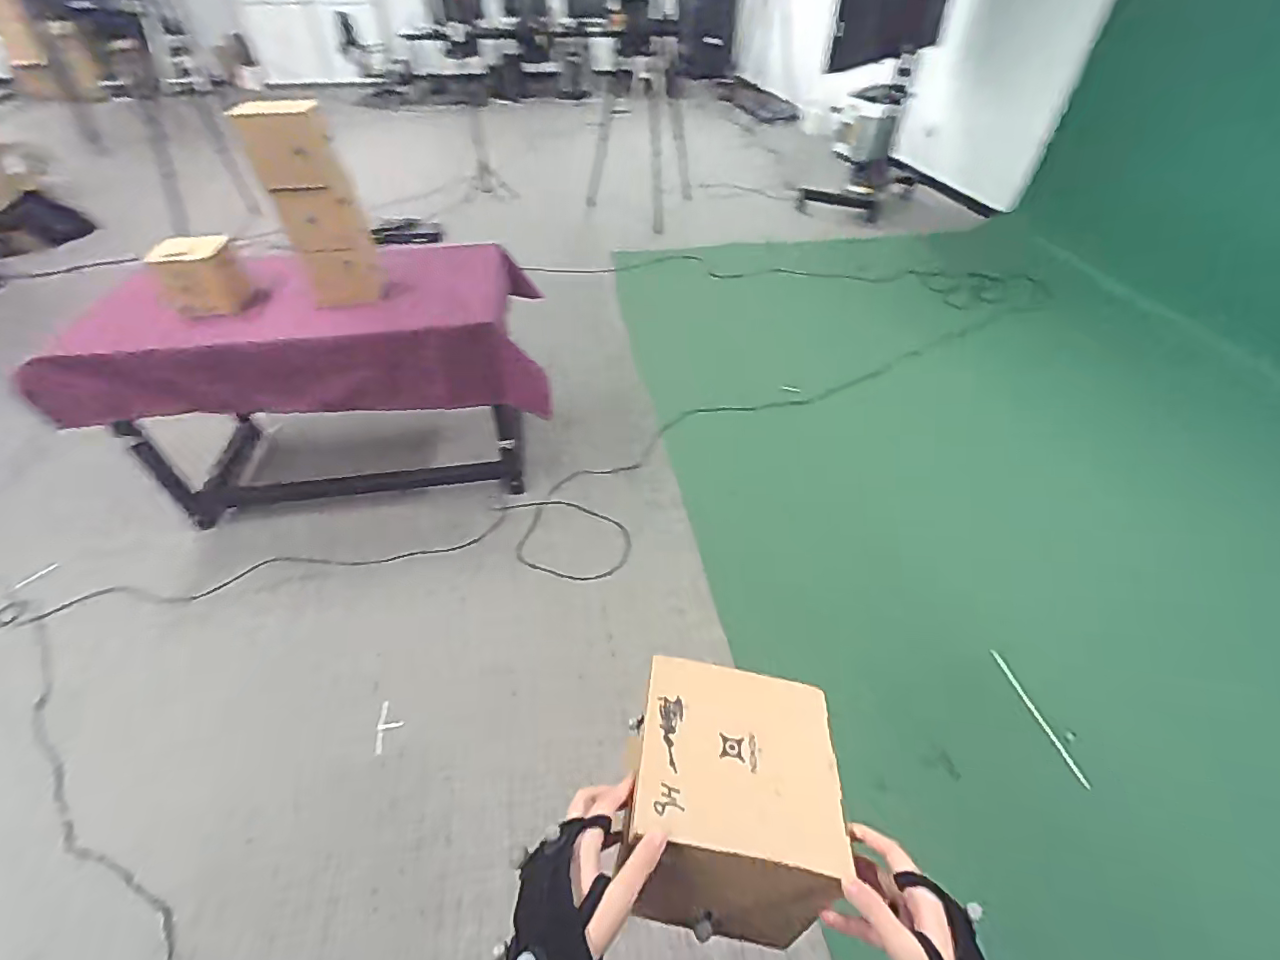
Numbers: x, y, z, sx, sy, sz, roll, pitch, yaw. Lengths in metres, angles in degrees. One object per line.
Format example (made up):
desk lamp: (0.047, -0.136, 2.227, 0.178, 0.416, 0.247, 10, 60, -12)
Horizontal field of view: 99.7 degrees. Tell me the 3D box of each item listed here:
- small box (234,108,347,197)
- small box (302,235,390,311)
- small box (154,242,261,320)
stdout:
small box: (-0.902, -0.859, 1.418, 0.179, 0.176, 0.168, -6, 44, -5)
small box: (-0.889, -0.634, 1.657, 0.179, 0.176, 0.168, -5, 44, -6)
small box: (-1.278, -0.590, 1.617, 0.168, 0.176, 0.179, -6, 44, -7)
